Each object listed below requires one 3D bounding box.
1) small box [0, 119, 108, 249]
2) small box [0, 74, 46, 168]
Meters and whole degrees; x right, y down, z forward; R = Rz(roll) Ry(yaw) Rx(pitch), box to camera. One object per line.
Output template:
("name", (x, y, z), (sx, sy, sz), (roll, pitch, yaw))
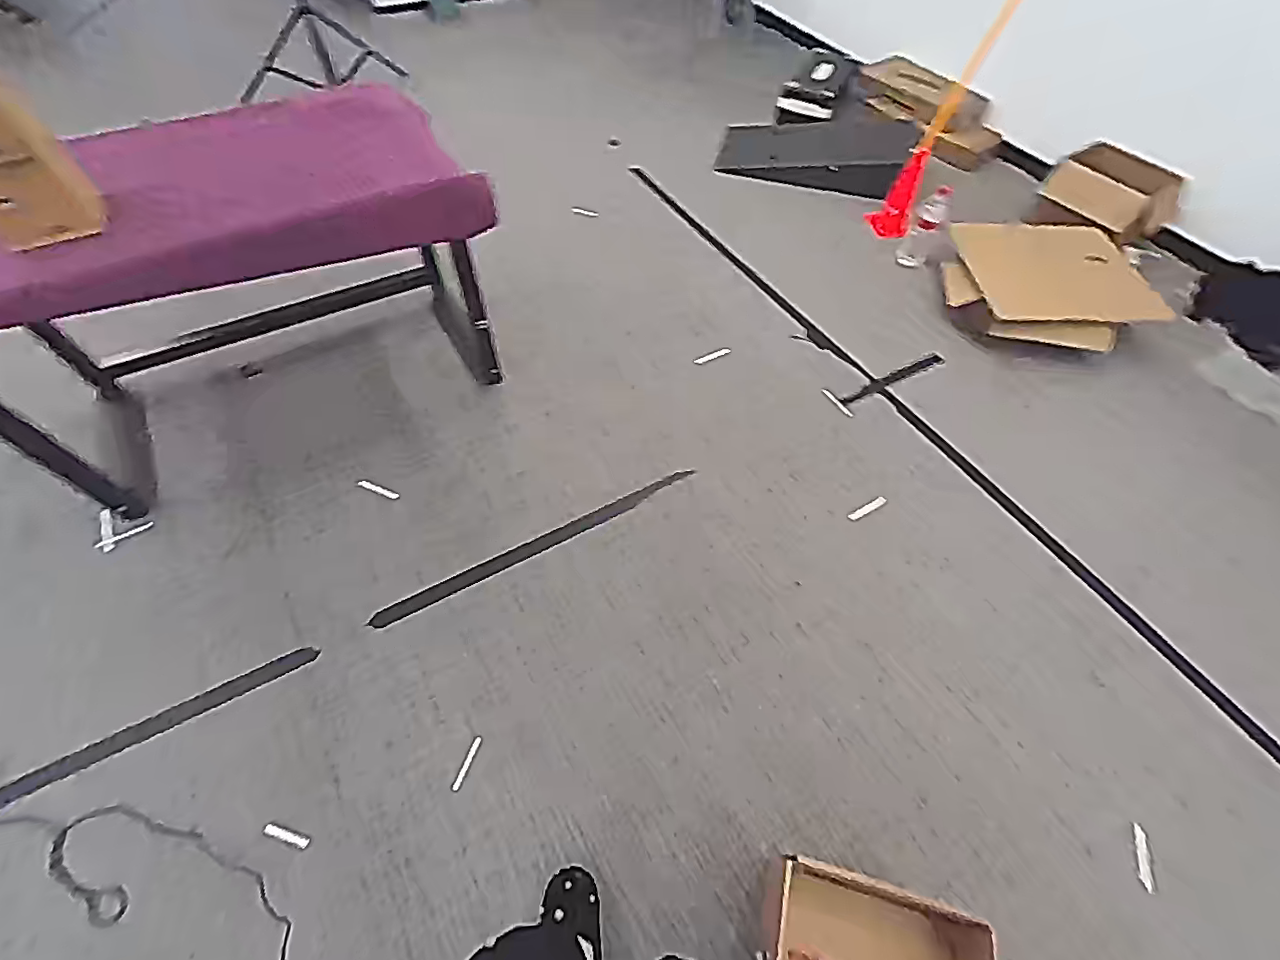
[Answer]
("small box", (-1.259, -0.604, 1.119), (0.168, 0.176, 0.179), (-26, 61, -18))
("small box", (-1.239, -0.680, 0.973), (0.168, 0.176, 0.179), (-30, 63, -21))
